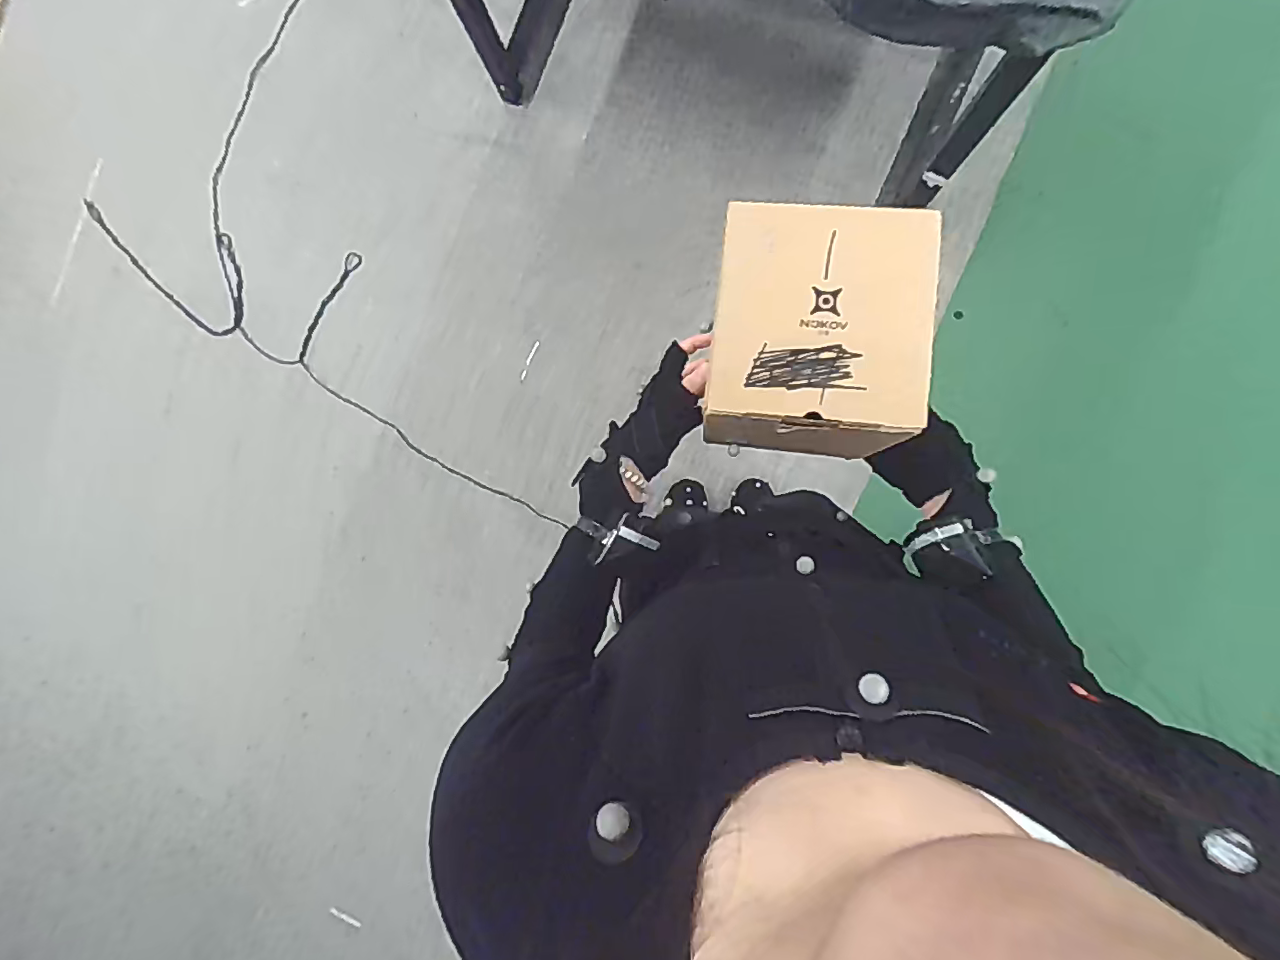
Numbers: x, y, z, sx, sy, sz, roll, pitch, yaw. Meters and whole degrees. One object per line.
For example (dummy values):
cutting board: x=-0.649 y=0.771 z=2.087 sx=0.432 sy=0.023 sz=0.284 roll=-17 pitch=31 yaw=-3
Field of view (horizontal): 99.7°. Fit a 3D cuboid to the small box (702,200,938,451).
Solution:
small box: x=0.149 y=-0.126 z=0.499 sx=0.168 sy=0.176 sz=0.179 roll=6 pitch=86 yaw=6
